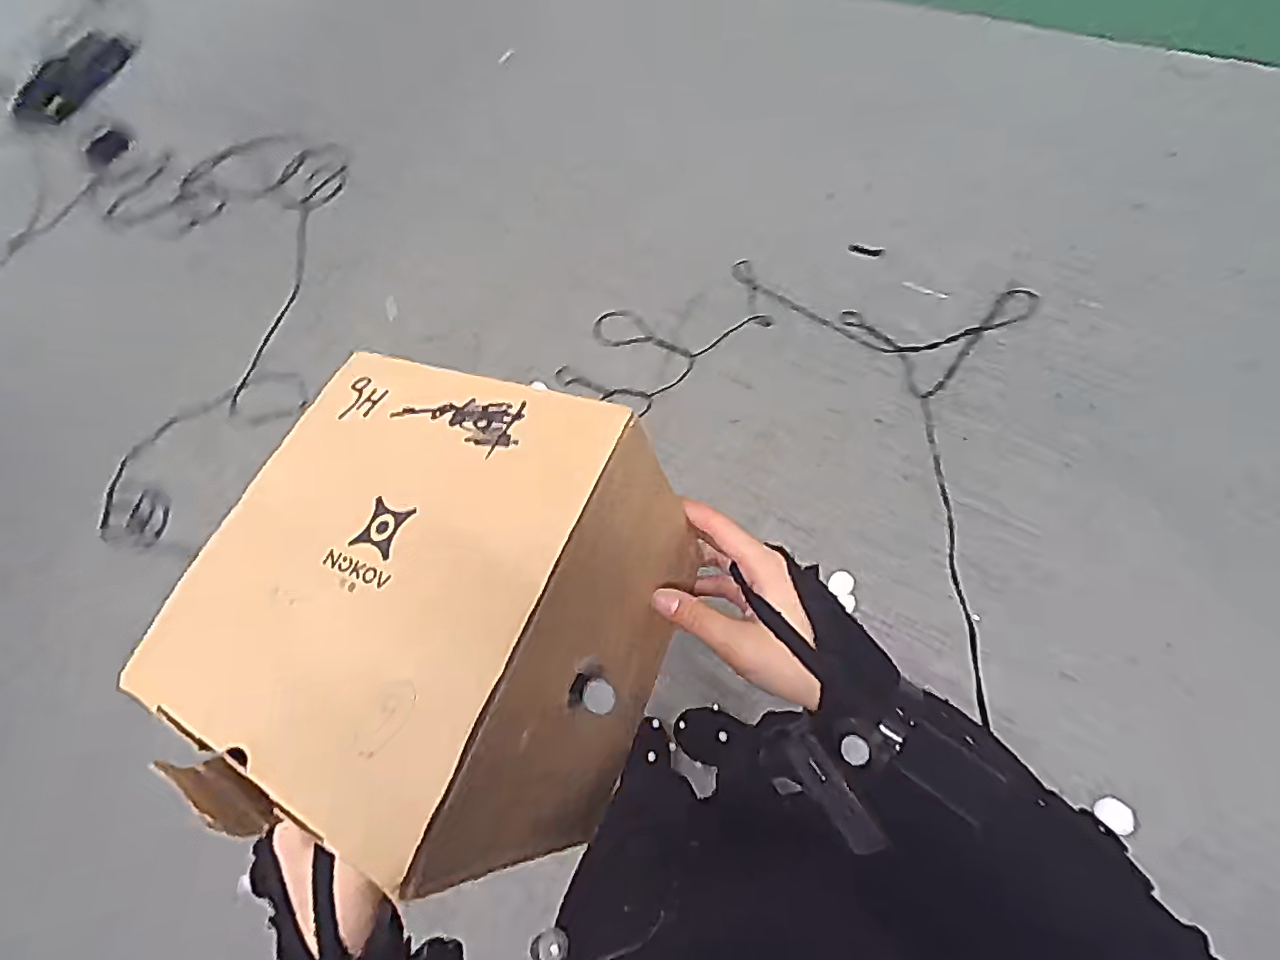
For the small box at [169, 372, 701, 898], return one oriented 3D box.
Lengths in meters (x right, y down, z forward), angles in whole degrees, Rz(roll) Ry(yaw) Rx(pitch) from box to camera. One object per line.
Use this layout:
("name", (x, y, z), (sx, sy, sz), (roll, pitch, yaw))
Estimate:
("small box", (-0.078, 0.072, 0.295), (0.168, 0.176, 0.179), (16, 69, 24))
